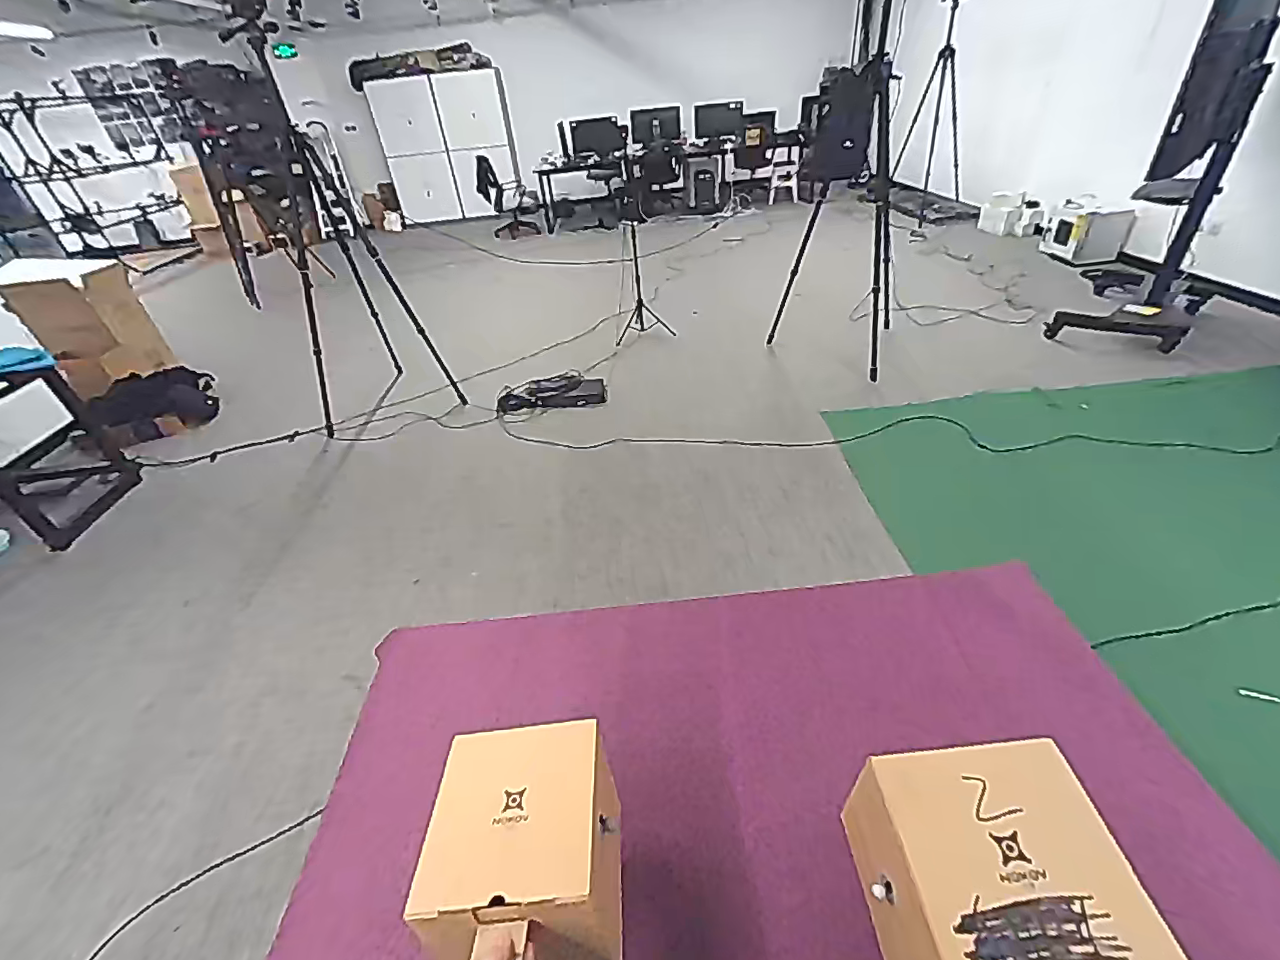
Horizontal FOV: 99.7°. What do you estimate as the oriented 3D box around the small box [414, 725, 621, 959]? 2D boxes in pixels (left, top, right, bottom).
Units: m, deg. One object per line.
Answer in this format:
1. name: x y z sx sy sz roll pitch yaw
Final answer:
1. small box: -0.115 0.403 0.590 0.168 0.176 0.179 -8 30 2
